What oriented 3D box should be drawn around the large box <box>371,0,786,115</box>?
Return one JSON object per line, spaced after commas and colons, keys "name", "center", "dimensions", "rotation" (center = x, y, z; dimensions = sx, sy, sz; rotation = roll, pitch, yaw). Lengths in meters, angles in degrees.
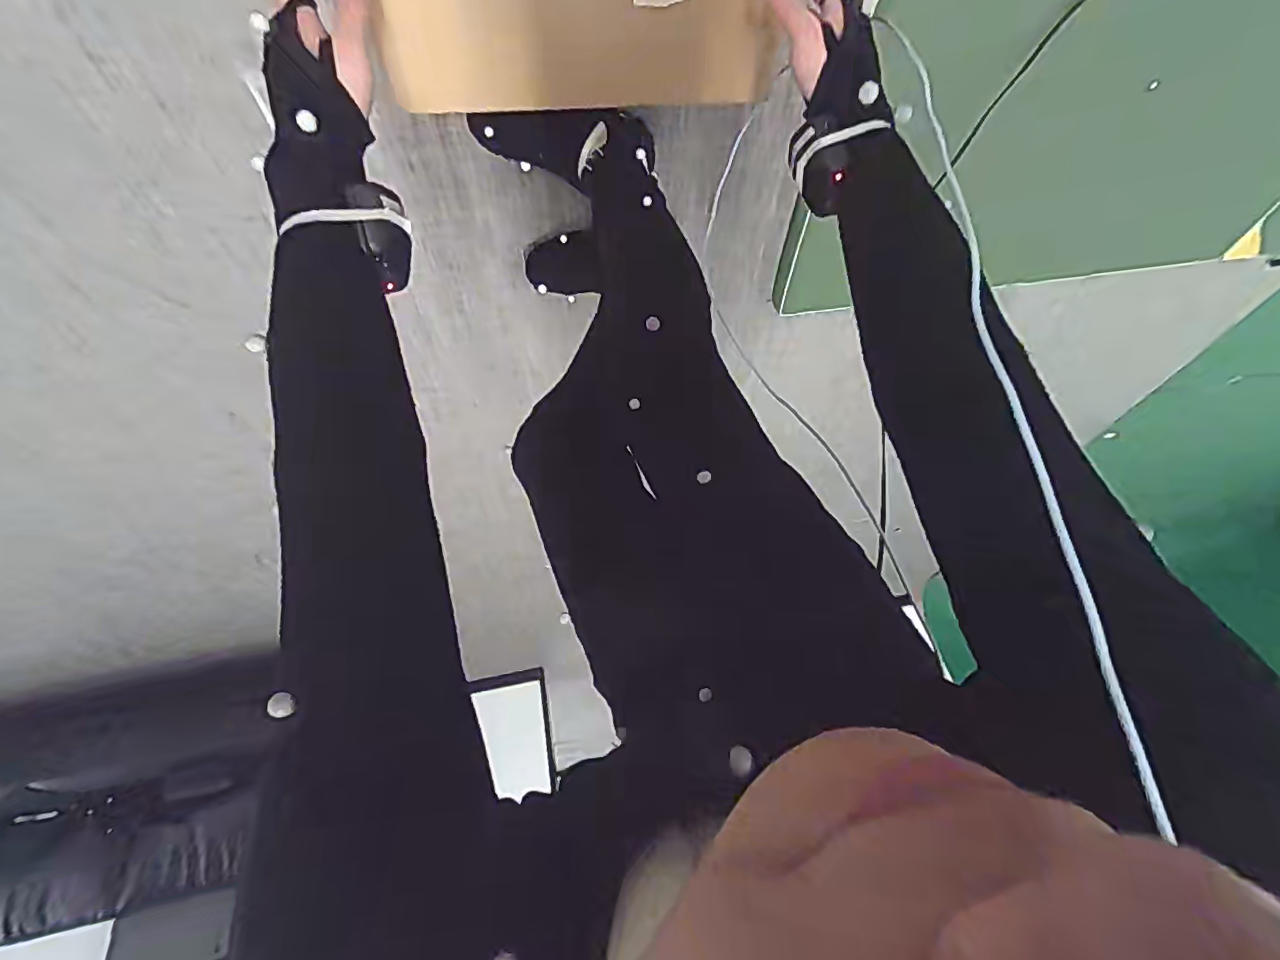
{"name": "large box", "center": [-0.077, -0.610, 0.535], "dimensions": [0.408, 0.320, 0.320], "rotation": [-9, 148, -10]}
